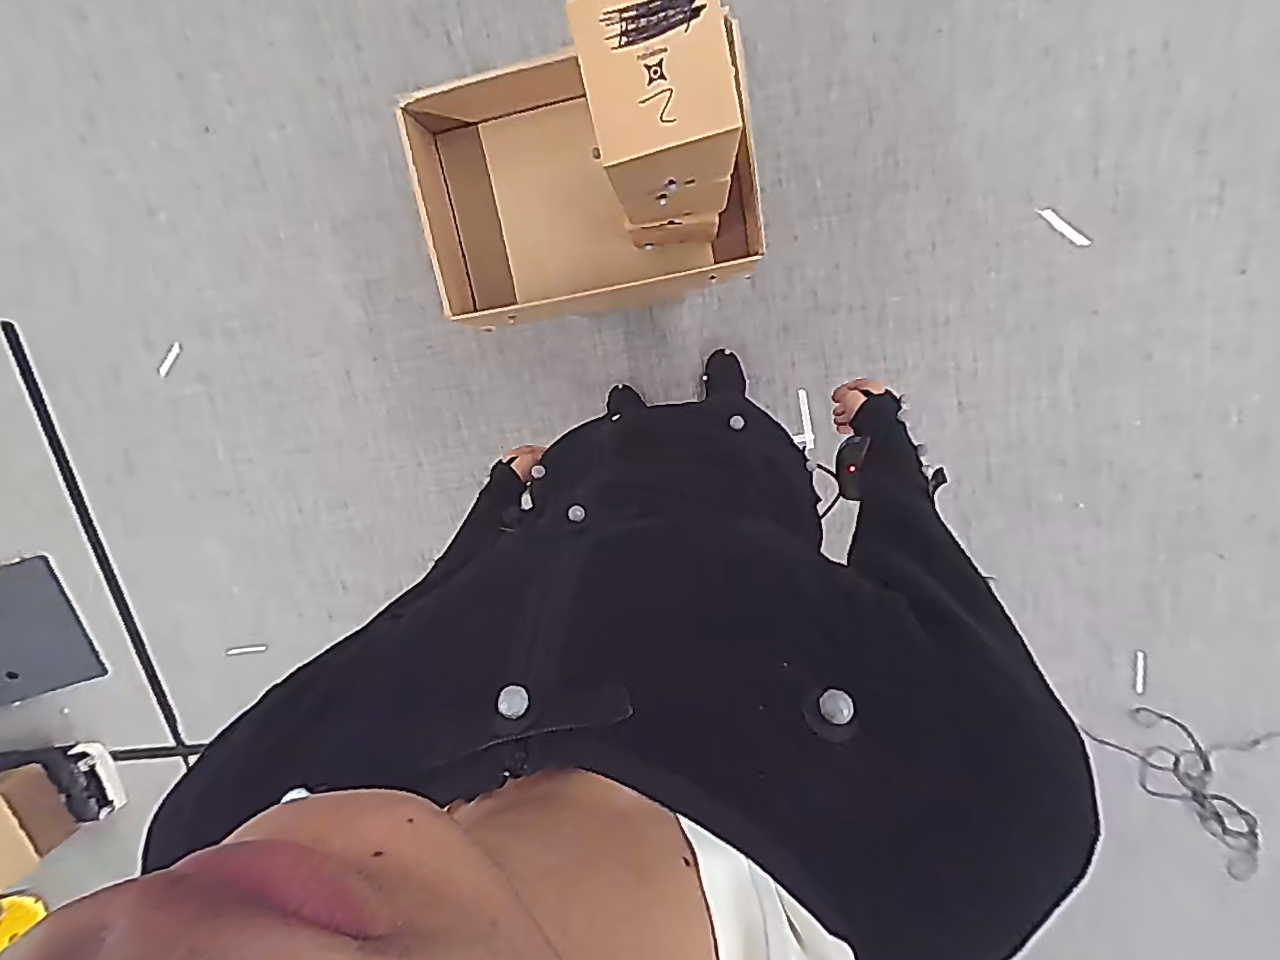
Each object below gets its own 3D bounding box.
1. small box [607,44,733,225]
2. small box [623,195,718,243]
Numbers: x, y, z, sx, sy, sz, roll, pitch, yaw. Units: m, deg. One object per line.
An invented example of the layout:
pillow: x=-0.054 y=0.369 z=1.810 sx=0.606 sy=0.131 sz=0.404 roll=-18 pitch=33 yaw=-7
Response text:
small box: x=0.050 y=-0.518 z=0.836 sx=0.168 sy=0.176 sz=0.179 roll=-6 pitch=102 yaw=7
small box: x=0.058 y=-0.545 z=0.998 sx=0.168 sy=0.176 sz=0.179 roll=-2 pitch=102 yaw=5
